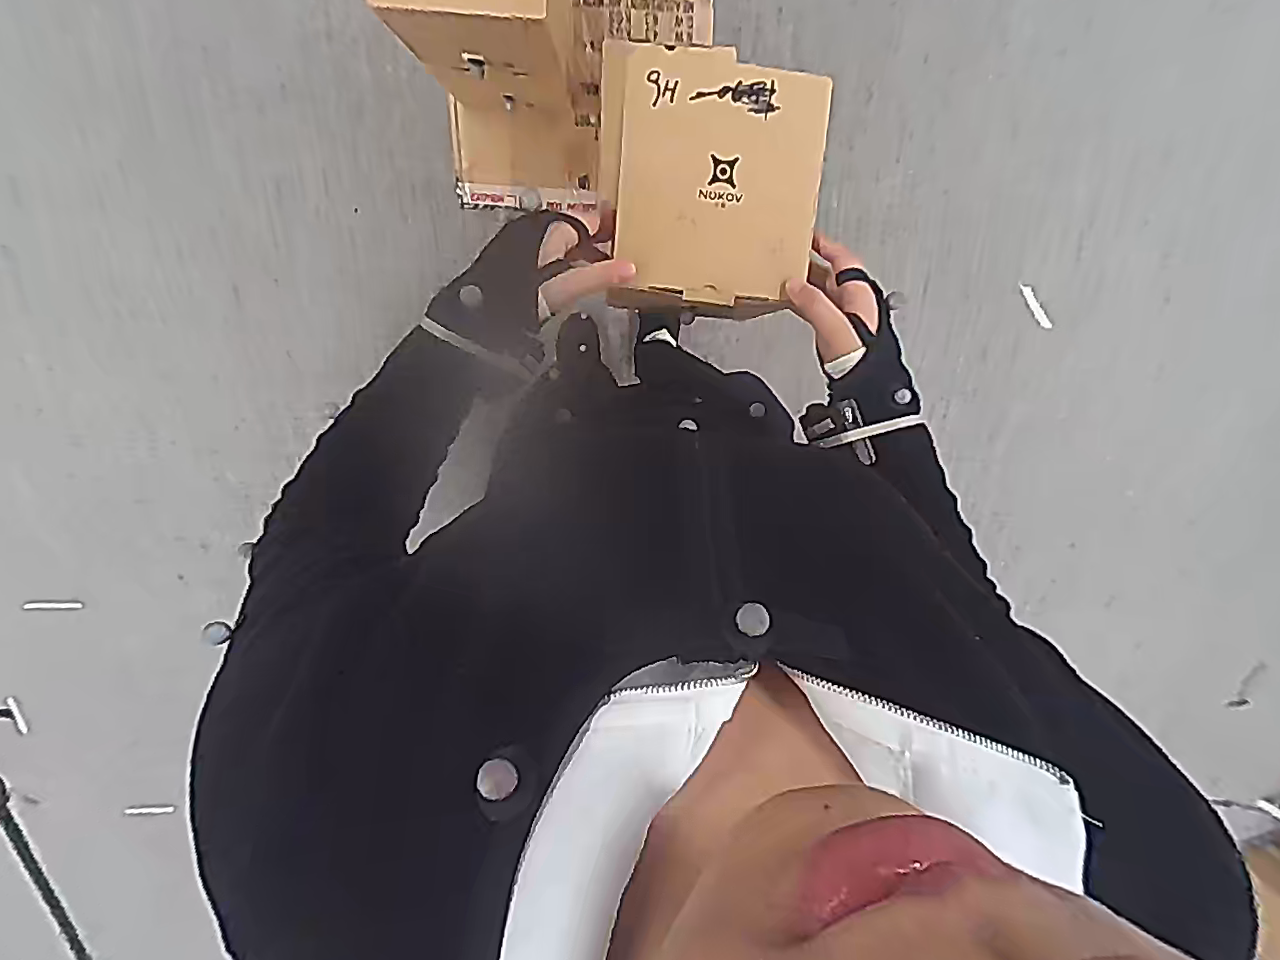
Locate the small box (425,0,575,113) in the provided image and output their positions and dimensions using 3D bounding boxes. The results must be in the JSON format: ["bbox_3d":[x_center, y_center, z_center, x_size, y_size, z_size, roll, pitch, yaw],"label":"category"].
[{"bbox_3d":[-0.173,-0.599,0.692,0.168,0.176,0.179,2,112,-3],"label":"small box"}]

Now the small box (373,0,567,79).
[{"bbox_3d":[-0.163,-0.539,0.542,0.168,0.176,0.179,2,112,-3],"label":"small box"}]

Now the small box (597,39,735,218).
[{"bbox_3d":[0.025,-0.475,0.757,0.168,0.176,0.179,0,112,-5],"label":"small box"}]
